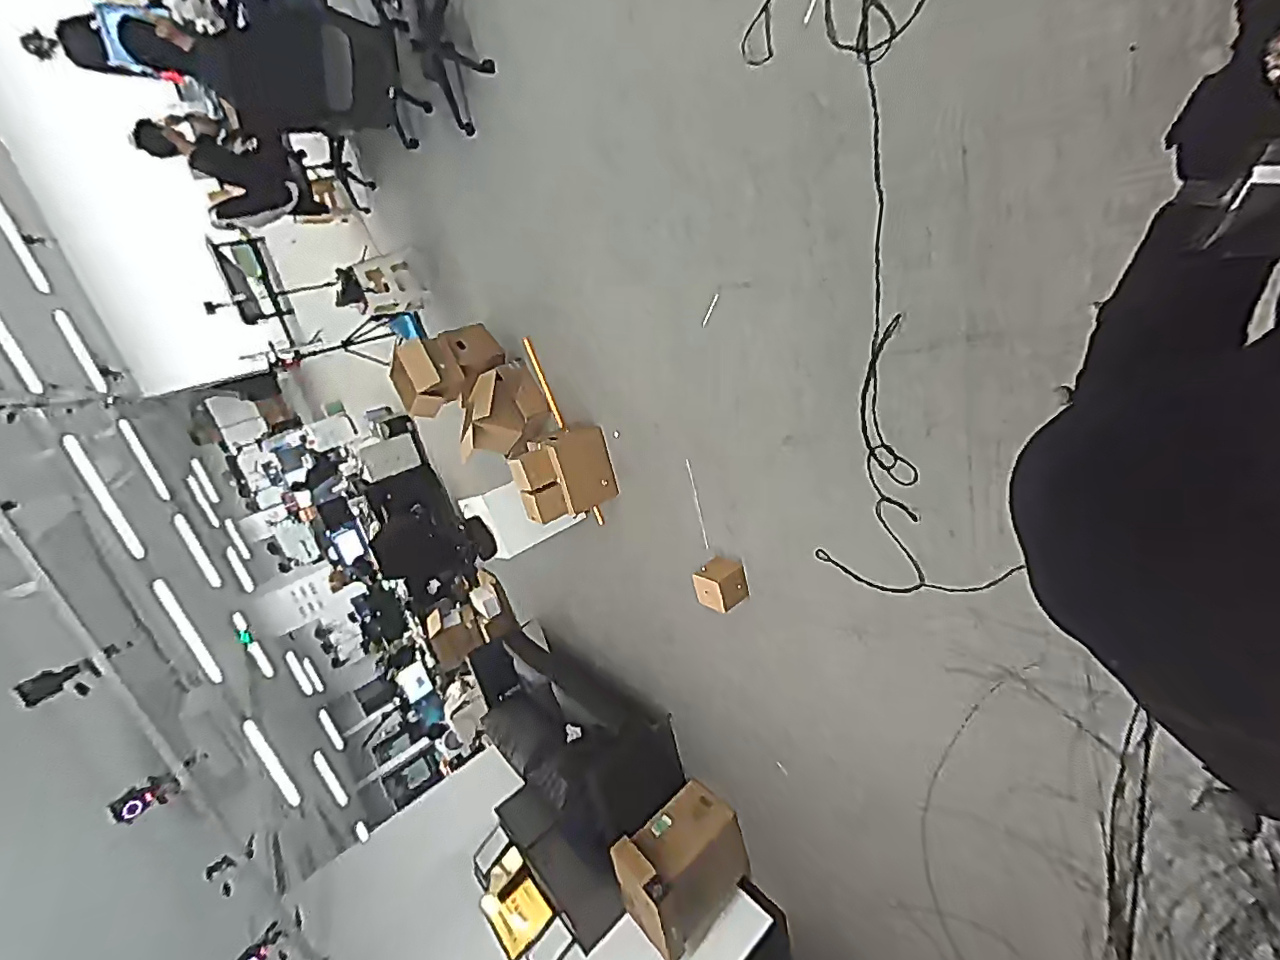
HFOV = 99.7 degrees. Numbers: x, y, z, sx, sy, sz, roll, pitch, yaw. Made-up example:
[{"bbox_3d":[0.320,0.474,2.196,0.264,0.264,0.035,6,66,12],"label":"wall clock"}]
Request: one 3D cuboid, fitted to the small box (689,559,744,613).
[{"bbox_3d":[0.356,0.484,2.505,0.179,0.176,0.168,10,121,51],"label":"small box"}]
